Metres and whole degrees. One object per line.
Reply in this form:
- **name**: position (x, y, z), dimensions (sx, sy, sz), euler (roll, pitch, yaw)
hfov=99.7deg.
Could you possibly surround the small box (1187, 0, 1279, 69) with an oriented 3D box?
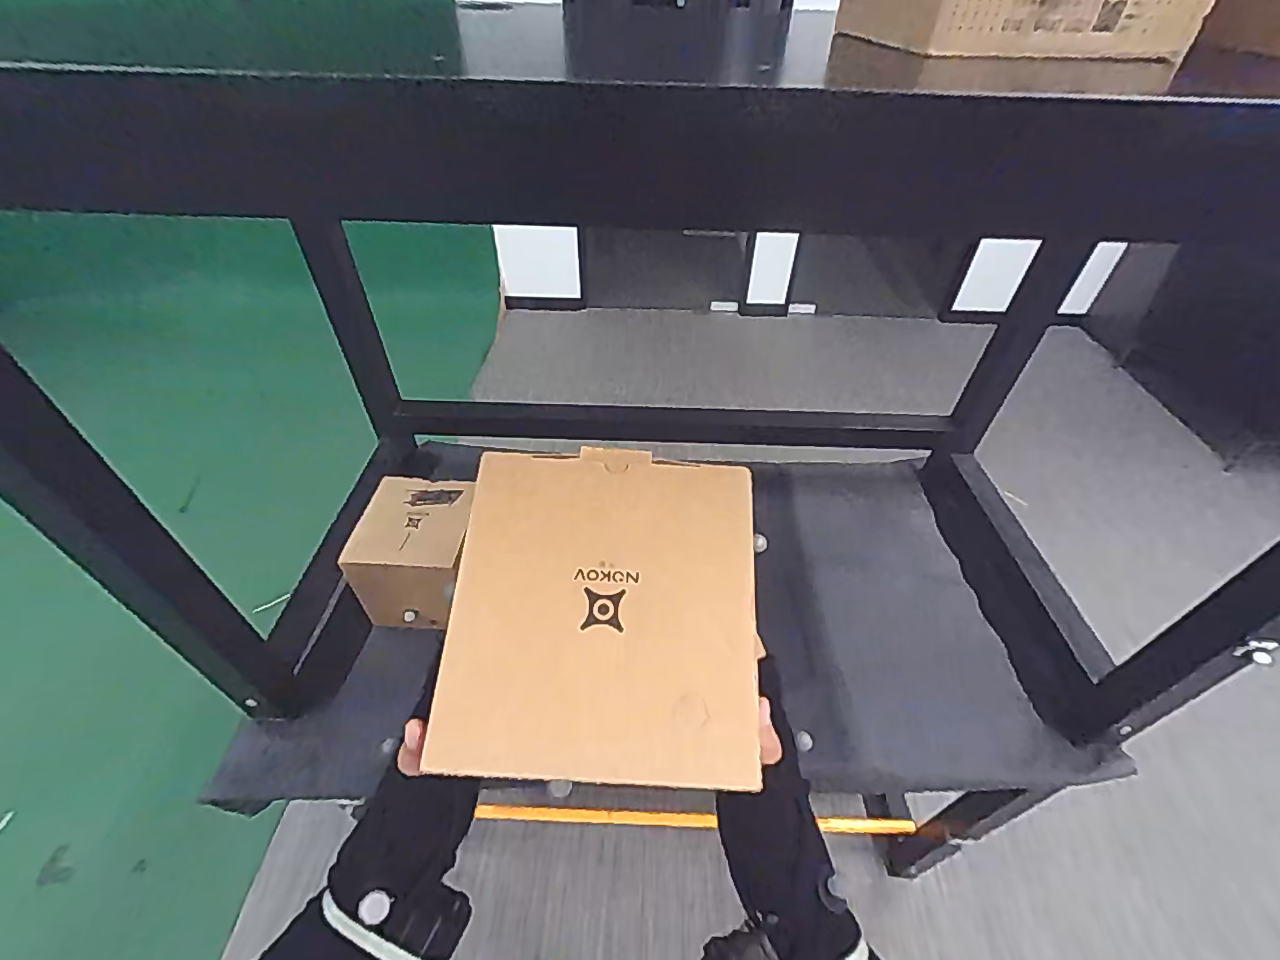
- **small box**: position (0.491, -0.334, 0.305), dimensions (0.168, 0.176, 0.179), euler (10, 44, 8)

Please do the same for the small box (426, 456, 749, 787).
- **small box**: position (-0.024, 0.100, 0.373), dimensions (0.168, 0.176, 0.179), euler (3, 65, -1)

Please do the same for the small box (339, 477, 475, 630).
- **small box**: position (-0.340, 0.117, 0.867), dimensions (0.168, 0.176, 0.179), euler (3, 44, 1)
